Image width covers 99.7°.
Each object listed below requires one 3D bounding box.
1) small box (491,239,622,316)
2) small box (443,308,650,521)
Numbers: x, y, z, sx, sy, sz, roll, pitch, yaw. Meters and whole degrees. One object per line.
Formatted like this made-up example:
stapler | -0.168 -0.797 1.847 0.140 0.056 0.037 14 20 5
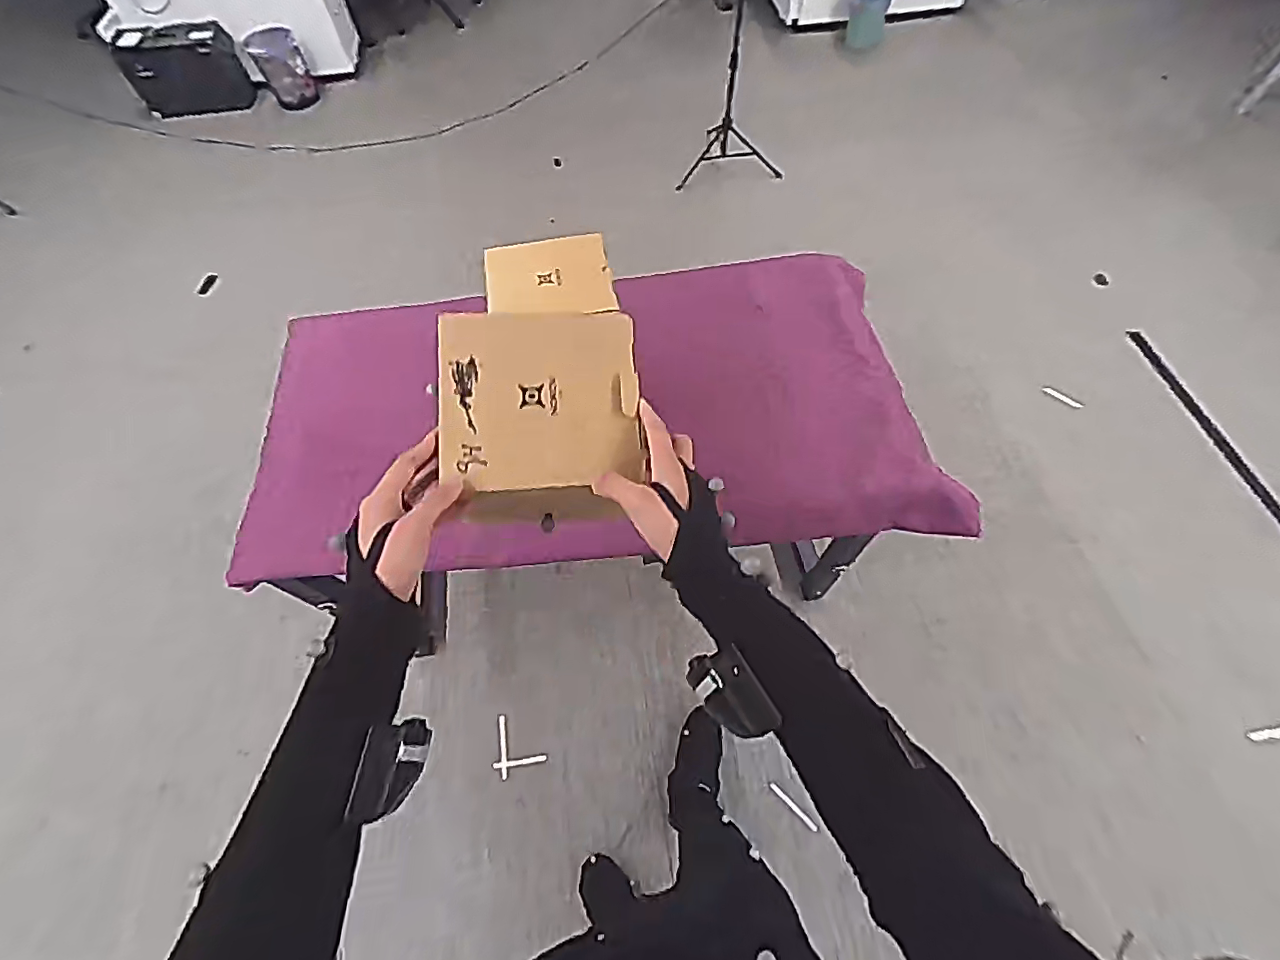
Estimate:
small box | -0.118 -0.235 0.827 0.179 0.176 0.168 -10 61 -4
small box | -0.096 -0.054 0.551 0.179 0.176 0.168 -2 76 -11
